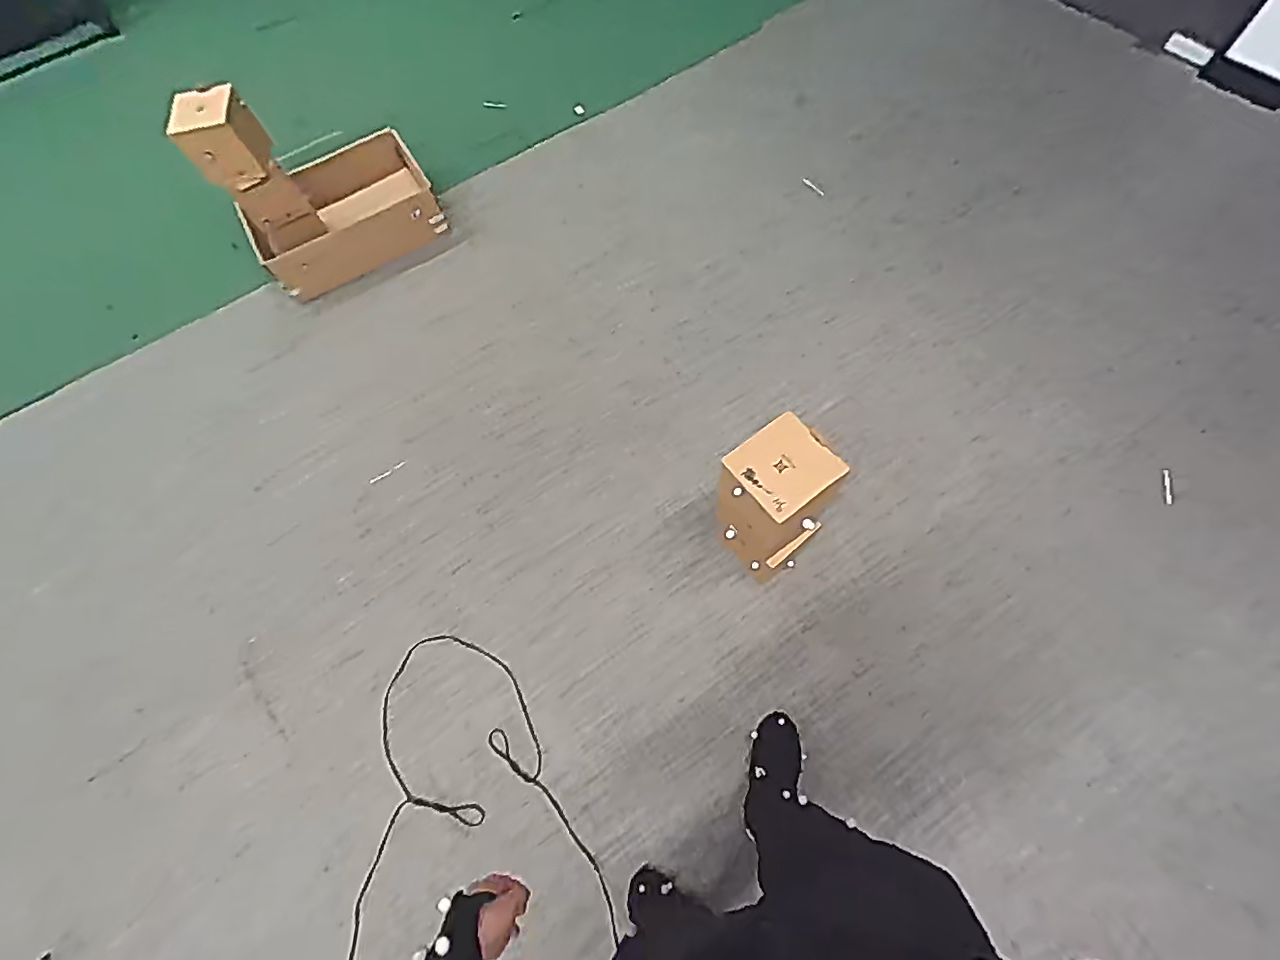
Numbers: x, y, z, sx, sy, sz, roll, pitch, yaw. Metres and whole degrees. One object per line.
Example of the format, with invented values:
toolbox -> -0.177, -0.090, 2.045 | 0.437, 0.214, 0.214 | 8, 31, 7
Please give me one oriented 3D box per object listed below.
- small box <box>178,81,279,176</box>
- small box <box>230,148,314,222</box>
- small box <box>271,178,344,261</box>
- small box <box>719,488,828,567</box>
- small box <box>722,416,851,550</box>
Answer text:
small box -> -1.203, -1.027, 1.596 | 0.168, 0.176, 0.179 | -11, 65, -1
small box -> -1.197, -0.966, 1.747 | 0.168, 0.176, 0.179 | -31, 67, -10
small box -> -1.187, -0.912, 1.902 | 0.168, 0.176, 0.179 | -33, 68, -9
small box -> 0.293, 0.069, 1.229 | 0.179, 0.176, 0.168 | -35, 67, -9
small box -> 0.279, 0.012, 1.076 | 0.179, 0.176, 0.168 | -34, 67, -10
